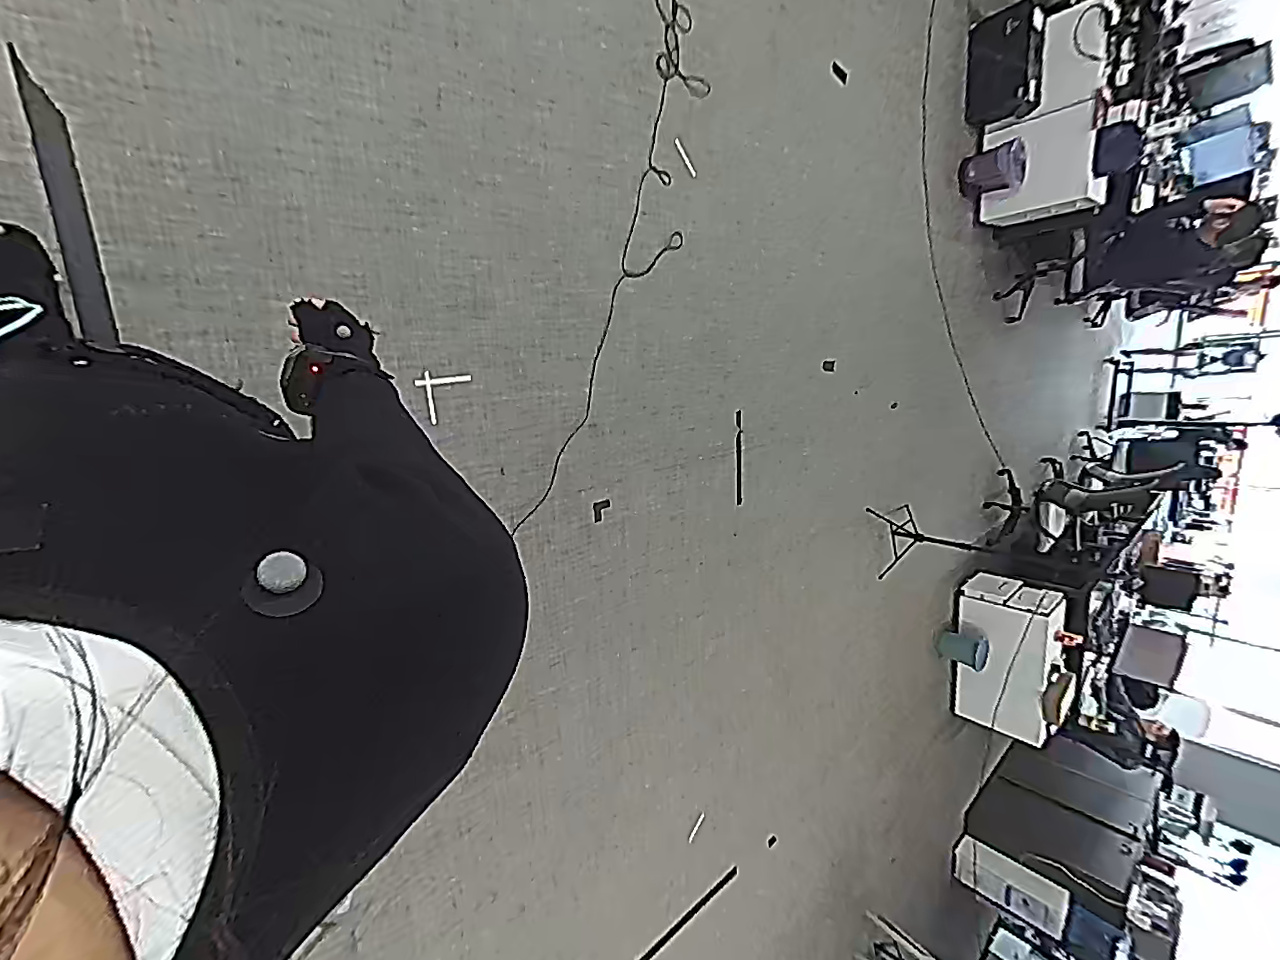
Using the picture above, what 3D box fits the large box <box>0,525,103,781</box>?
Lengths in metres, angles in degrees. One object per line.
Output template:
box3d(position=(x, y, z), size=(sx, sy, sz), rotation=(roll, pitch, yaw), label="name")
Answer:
box3d(position=(-0.913, 0.178, 0.578), size=(0.320, 0.408, 0.320), rotation=(-40, 147, -31), label="large box")
